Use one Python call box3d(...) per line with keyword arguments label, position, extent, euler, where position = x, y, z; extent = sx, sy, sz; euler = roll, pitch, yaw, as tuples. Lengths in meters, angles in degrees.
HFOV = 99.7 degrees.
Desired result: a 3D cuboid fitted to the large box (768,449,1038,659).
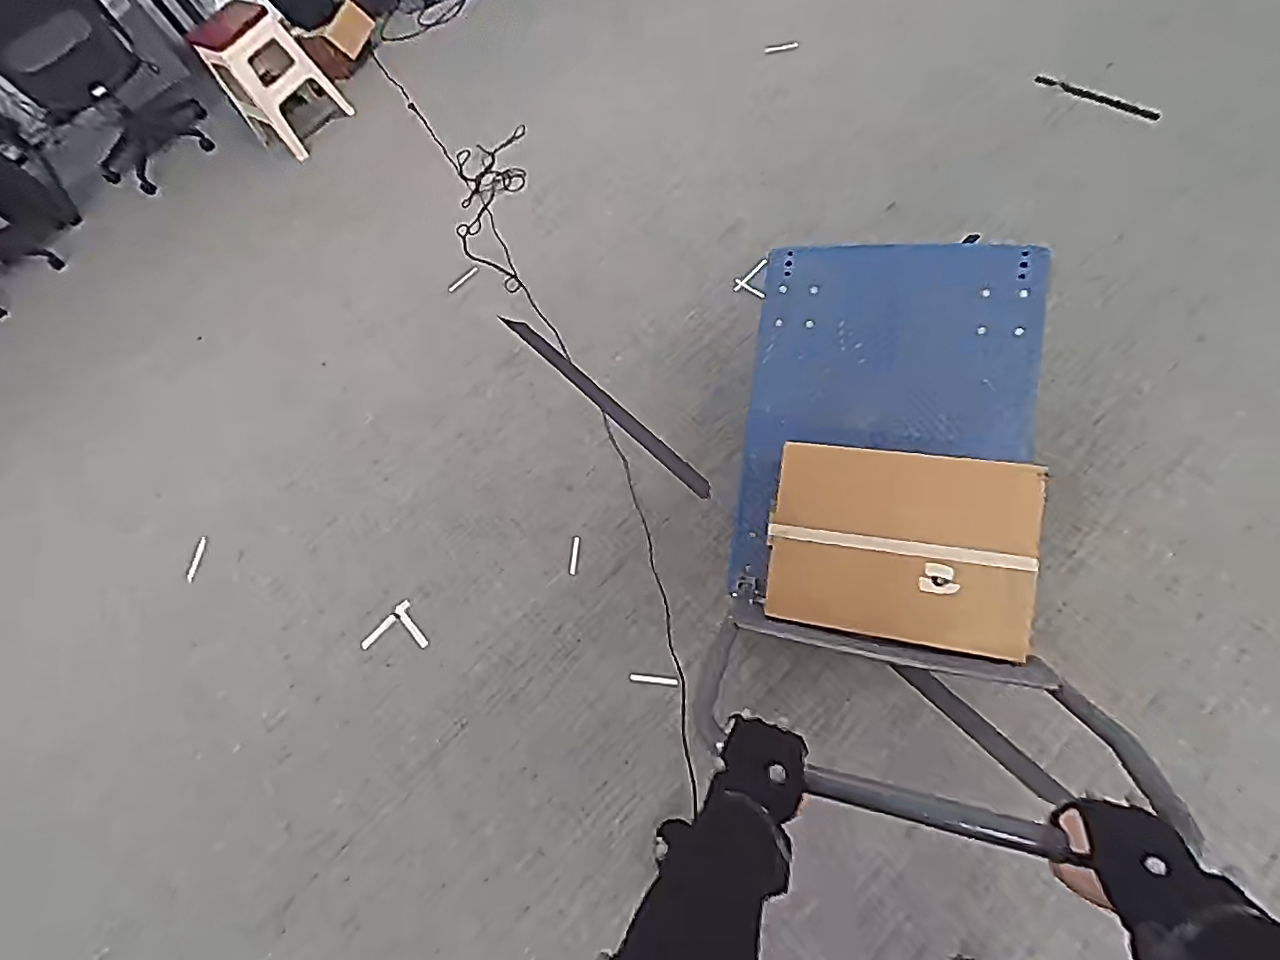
box3d(label="large box", position=(0.471, 0.125, 1.061), extent=(0.408, 0.320, 0.320), euler=(7, 90, 16))
